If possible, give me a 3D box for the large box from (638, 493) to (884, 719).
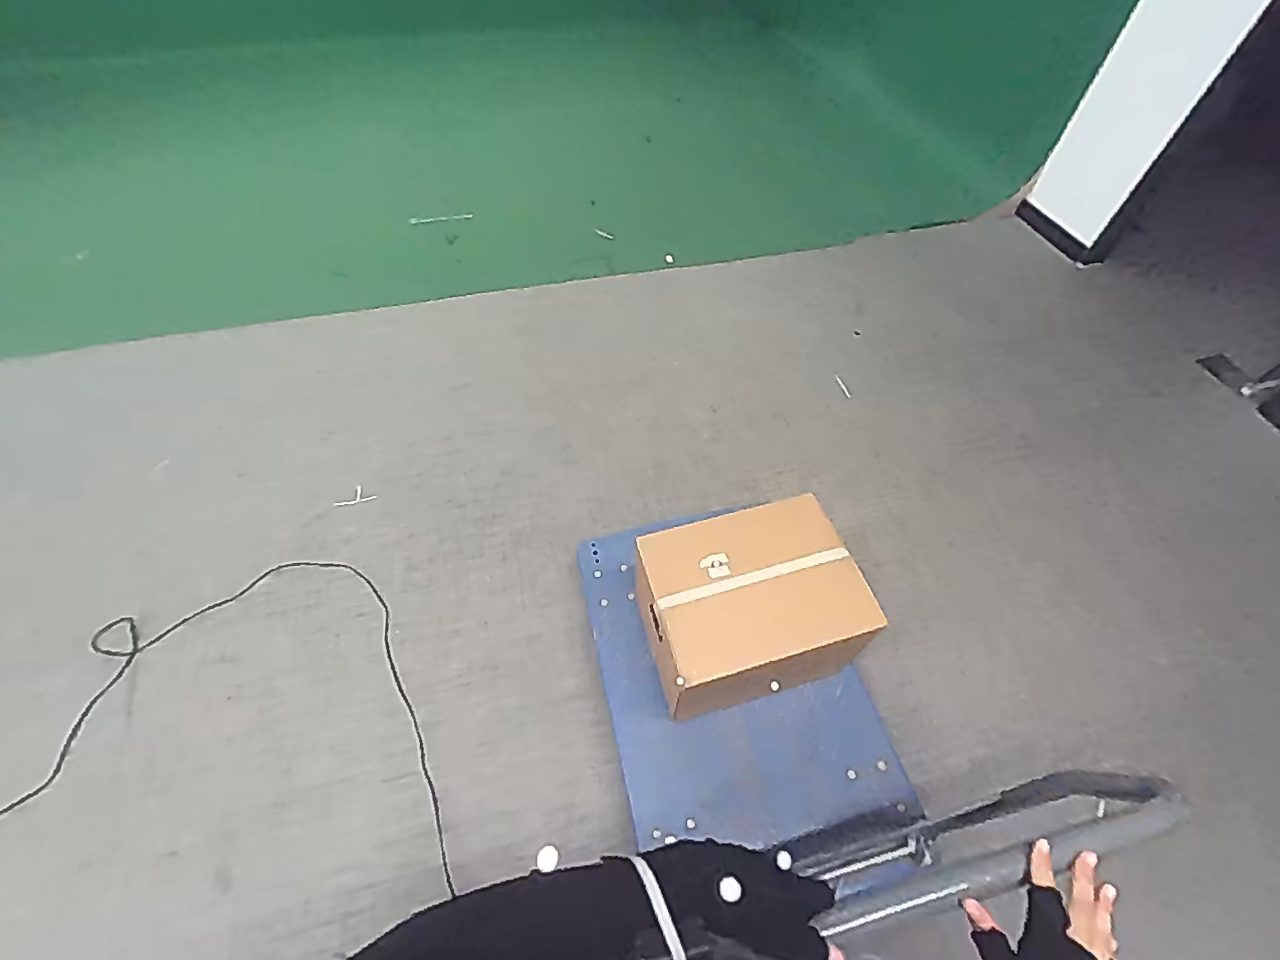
[{"bbox_3d":[0.231,0.280,1.185,0.408,0.320,0.320,-15,56,-9],"label":"large box"}]
